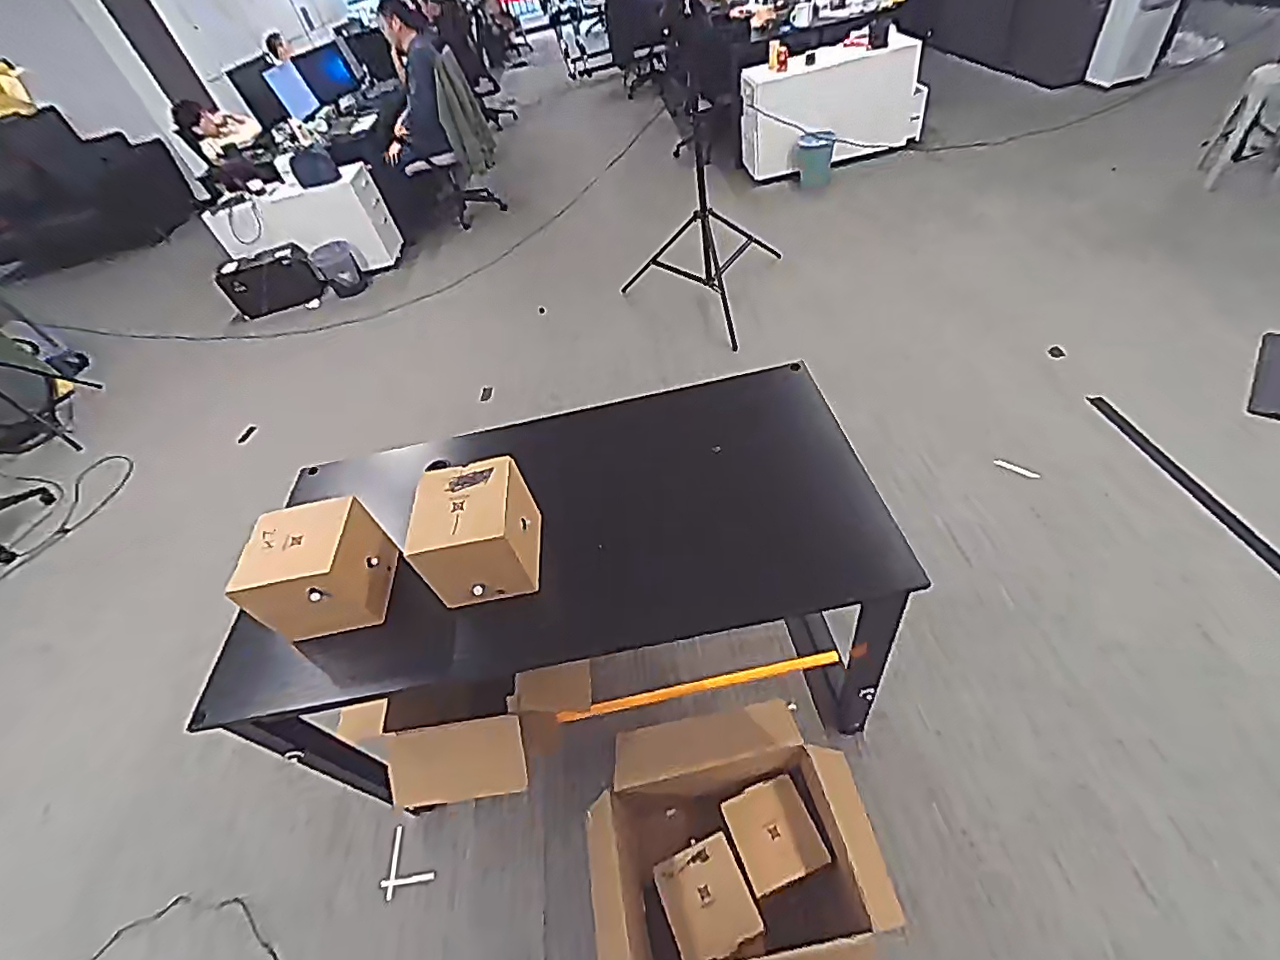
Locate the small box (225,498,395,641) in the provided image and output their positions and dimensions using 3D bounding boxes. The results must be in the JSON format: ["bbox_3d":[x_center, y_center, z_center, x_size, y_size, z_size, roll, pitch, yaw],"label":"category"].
[{"bbox_3d":[-0.561,0.160,0.952,0.179,0.176,0.168,-12,46,2],"label":"small box"}]

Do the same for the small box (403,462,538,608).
[{"bbox_3d":[-0.283,0.097,0.946,0.168,0.176,0.179,-11,47,3],"label":"small box"}]
